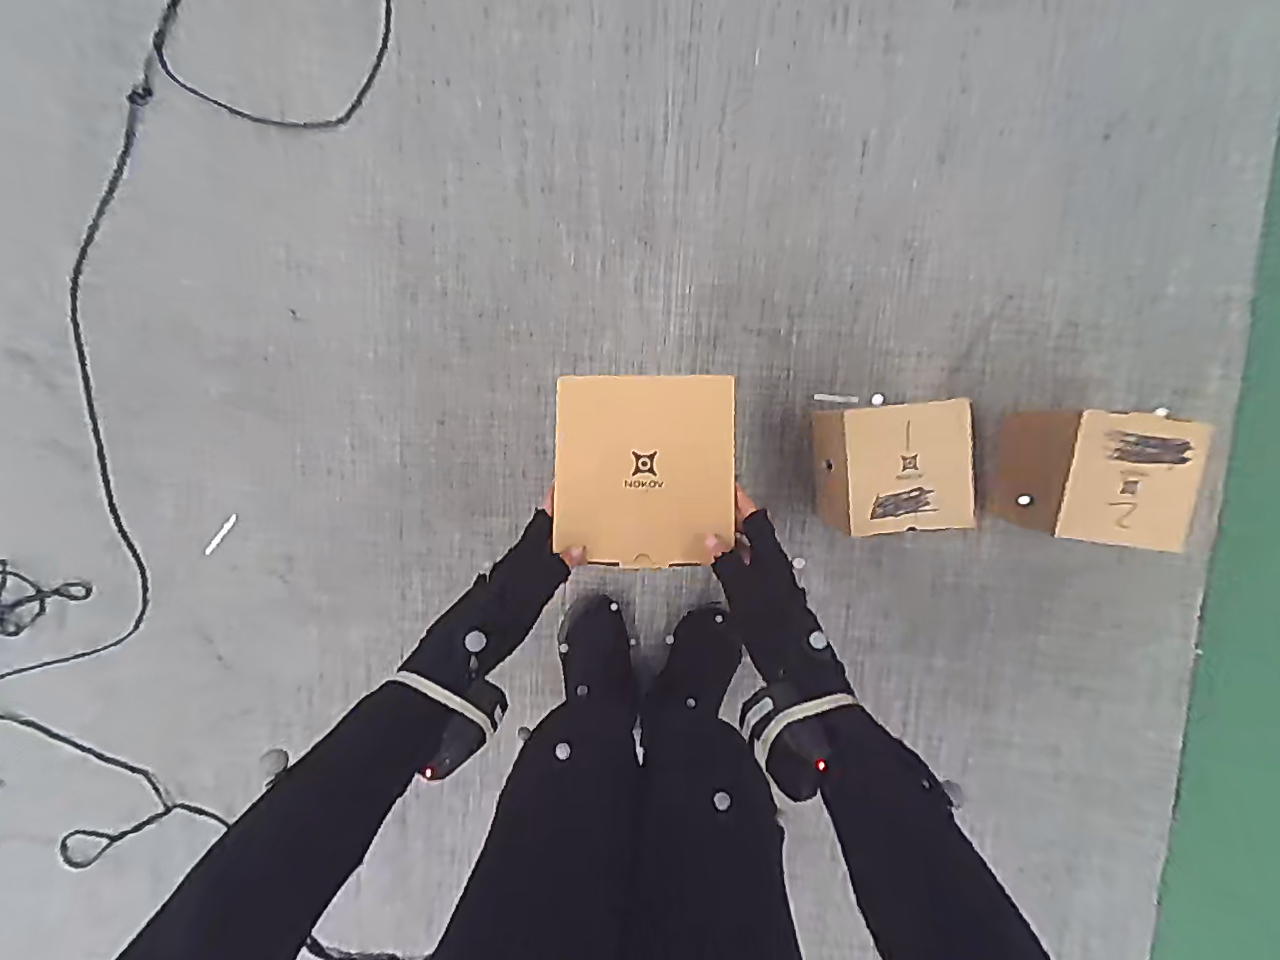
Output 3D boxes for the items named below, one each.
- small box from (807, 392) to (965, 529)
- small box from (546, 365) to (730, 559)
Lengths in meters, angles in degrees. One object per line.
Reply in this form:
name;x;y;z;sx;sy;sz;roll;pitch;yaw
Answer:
small box;0.355;-0.034;0.804;0.168;0.176;0.179;-5;95;3
small box;0.002;-0.011;0.564;0.168;0.176;0.179;0;86;3
